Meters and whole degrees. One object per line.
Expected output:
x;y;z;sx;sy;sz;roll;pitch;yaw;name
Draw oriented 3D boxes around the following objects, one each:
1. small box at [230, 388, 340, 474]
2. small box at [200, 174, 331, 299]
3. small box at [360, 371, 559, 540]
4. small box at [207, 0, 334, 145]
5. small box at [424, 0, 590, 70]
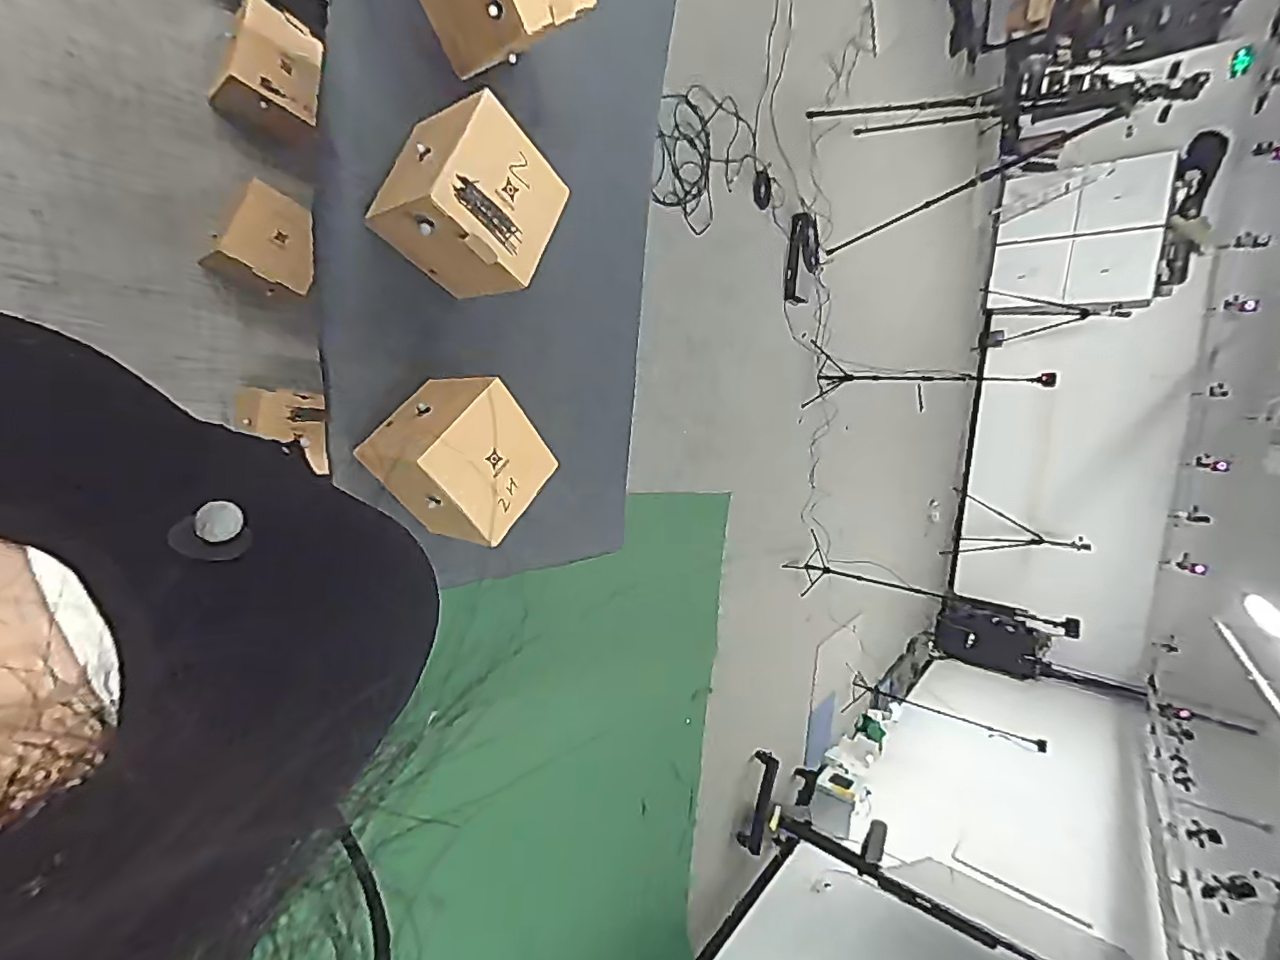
-0.819;-0.114;1.245;0.168;0.176;0.179;5;94;-51;small box
-0.816;-0.514;1.173;0.168;0.176;0.179;28;74;-50;small box
-0.258;-0.037;0.781;0.168;0.176;0.179;-57;136;-31;small box
-0.784;-0.858;1.145;0.168;0.176;0.179;16;84;-51;small box
-0.199;-0.707;0.733;0.168;0.176;0.179;-54;134;-30;small box
